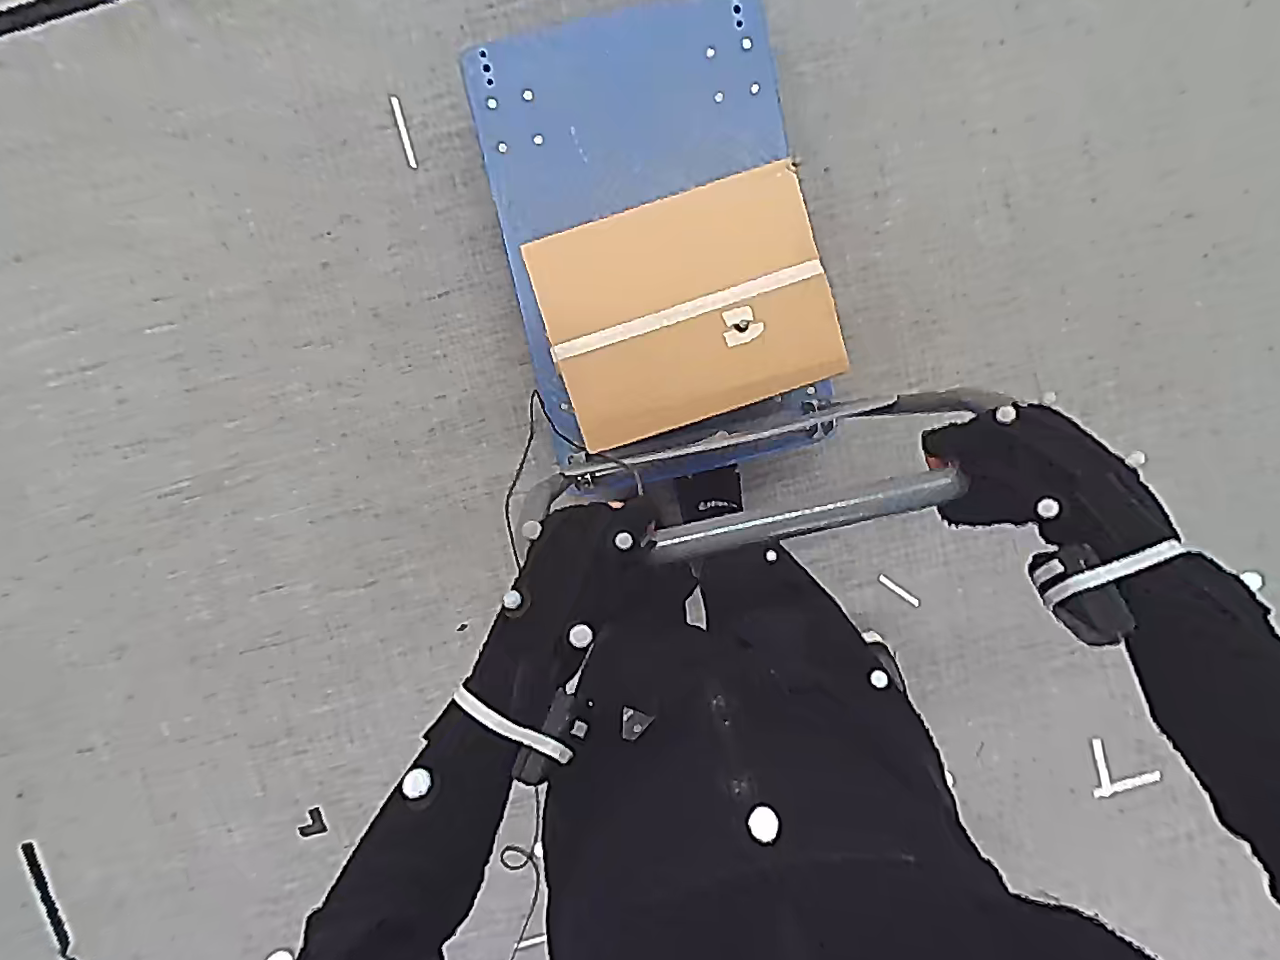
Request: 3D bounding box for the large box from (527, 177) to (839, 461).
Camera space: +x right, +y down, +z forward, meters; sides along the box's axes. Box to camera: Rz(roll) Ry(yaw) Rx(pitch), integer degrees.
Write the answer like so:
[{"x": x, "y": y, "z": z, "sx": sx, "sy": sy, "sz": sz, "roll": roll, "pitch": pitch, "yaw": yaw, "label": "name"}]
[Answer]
[{"x": 0.062, "y": -0.248, "z": 0.948, "sx": 0.408, "sy": 0.320, "sz": 0.320, "roll": -19, "pitch": 97, "yaw": 0, "label": "large box"}]
